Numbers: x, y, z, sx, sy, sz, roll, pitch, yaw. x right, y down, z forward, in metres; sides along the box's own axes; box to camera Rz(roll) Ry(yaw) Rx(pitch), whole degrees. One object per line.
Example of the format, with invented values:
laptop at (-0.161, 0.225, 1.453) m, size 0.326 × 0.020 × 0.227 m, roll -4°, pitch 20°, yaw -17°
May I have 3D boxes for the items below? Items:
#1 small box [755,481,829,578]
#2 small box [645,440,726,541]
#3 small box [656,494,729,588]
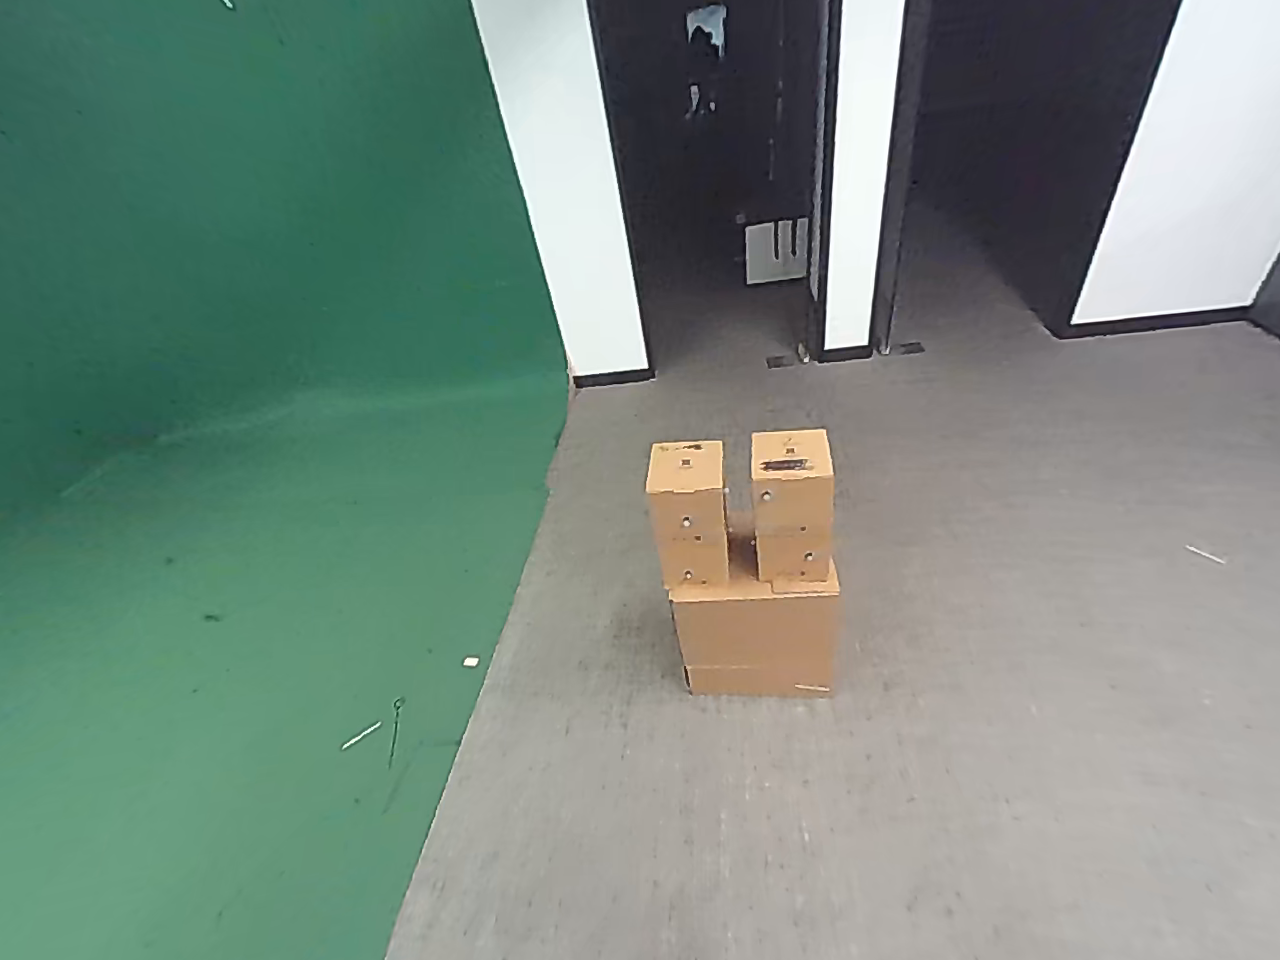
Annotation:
small box at (0.371, 0.125, 1.326) m, size 0.168 × 0.176 × 0.179 m, roll -2°, pitch 39°, yaw 13°
small box at (0.112, 0.029, 1.253) m, size 0.168 × 0.176 × 0.179 m, roll -2°, pitch 41°, yaw 11°
small box at (0.138, 0.150, 1.361) m, size 0.168 × 0.176 × 0.179 m, roll -3°, pitch 41°, yaw 10°
